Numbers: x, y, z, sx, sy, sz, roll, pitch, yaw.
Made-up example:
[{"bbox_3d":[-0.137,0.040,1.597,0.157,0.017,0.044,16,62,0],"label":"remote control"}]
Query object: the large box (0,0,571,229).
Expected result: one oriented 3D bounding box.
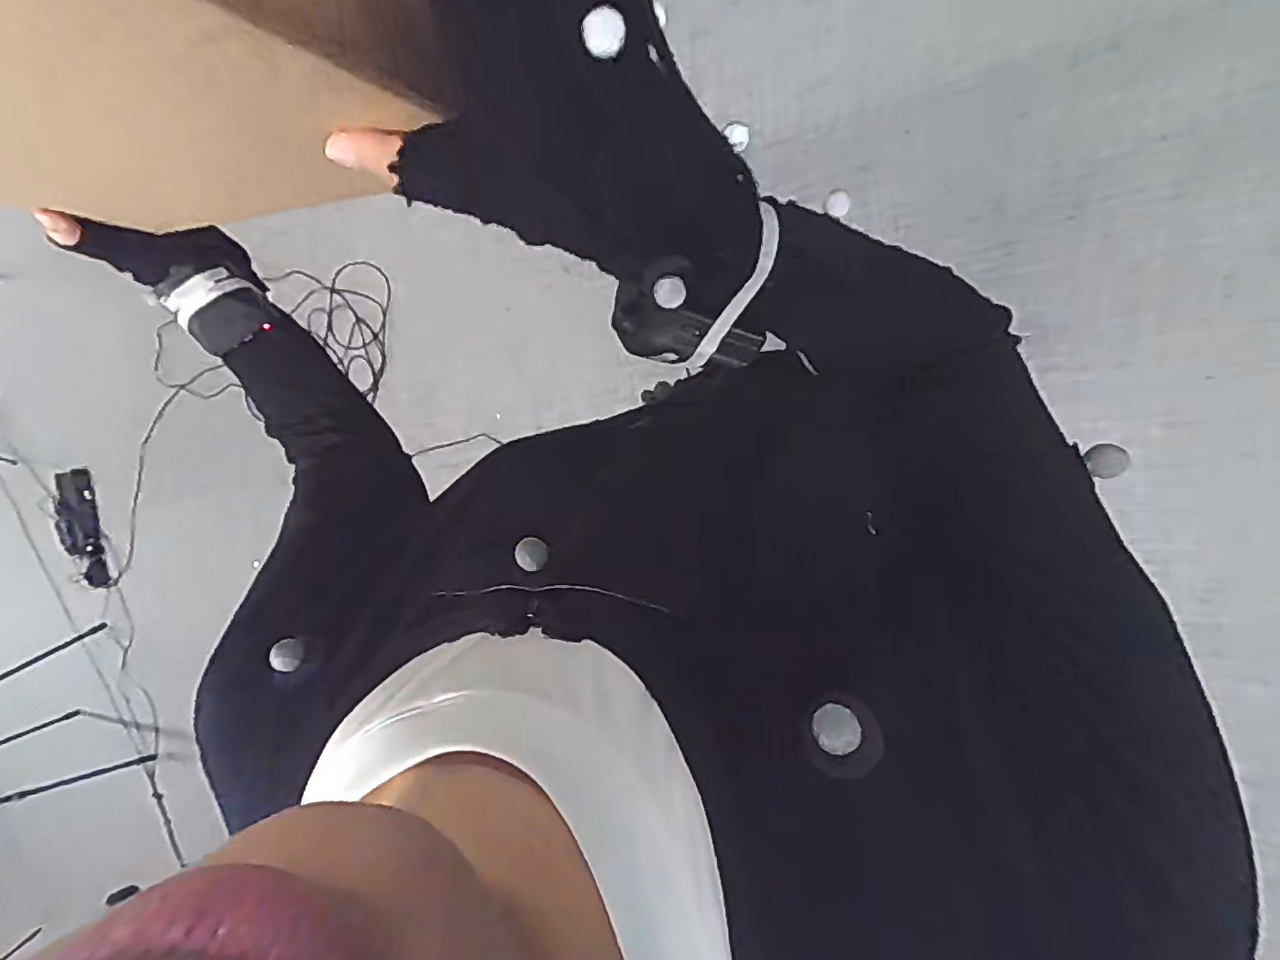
[{"bbox_3d":[-0.268,-0.297,0.172,0.408,0.320,0.320,10,104,30],"label":"large box"}]
